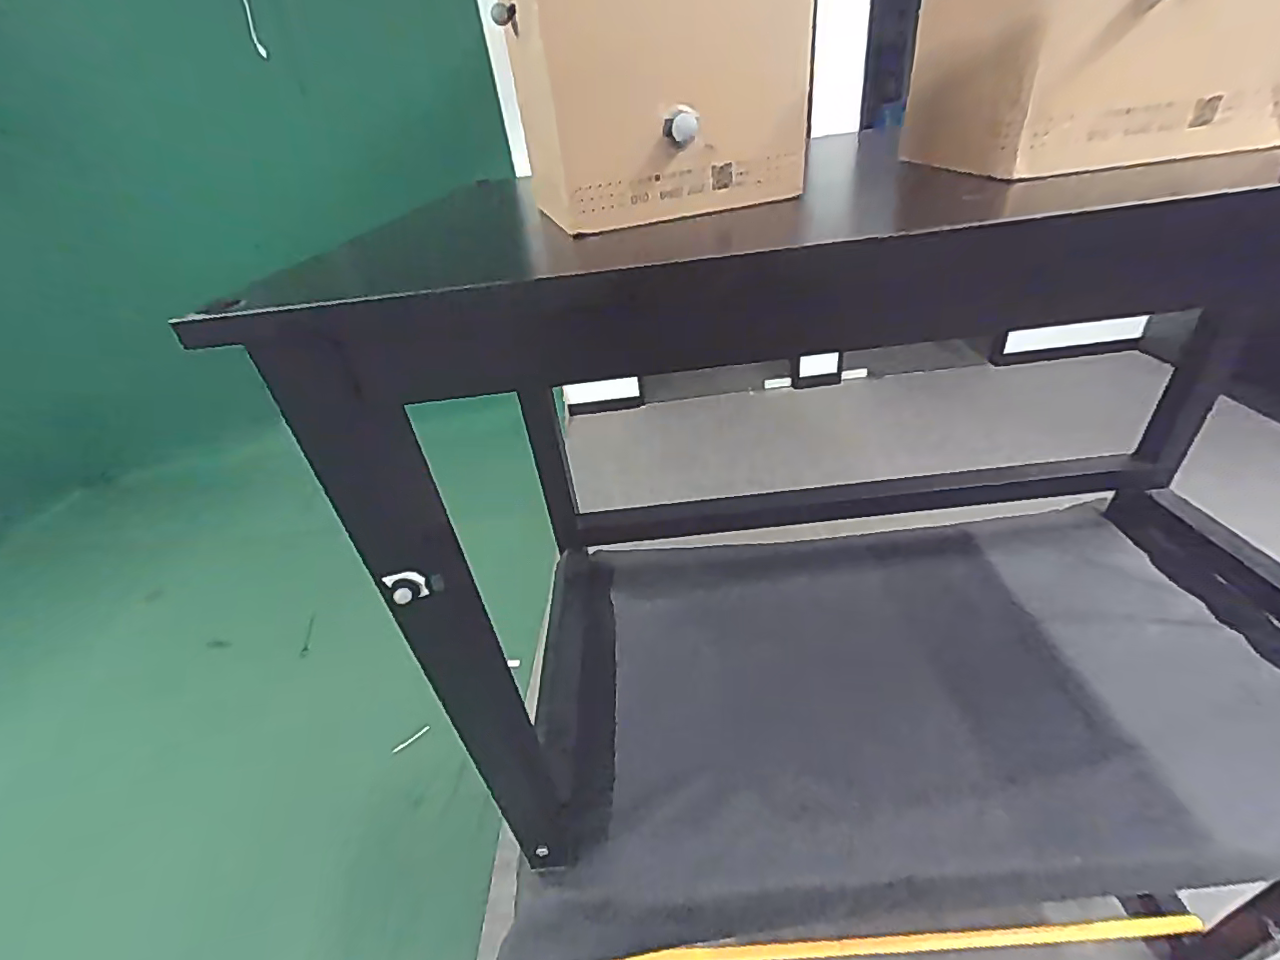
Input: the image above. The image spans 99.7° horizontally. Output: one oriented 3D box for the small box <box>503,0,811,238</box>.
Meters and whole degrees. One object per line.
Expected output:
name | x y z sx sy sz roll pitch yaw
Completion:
small box | 0.002 -0.281 0.385 0.168 0.176 0.179 -15 36 -10
